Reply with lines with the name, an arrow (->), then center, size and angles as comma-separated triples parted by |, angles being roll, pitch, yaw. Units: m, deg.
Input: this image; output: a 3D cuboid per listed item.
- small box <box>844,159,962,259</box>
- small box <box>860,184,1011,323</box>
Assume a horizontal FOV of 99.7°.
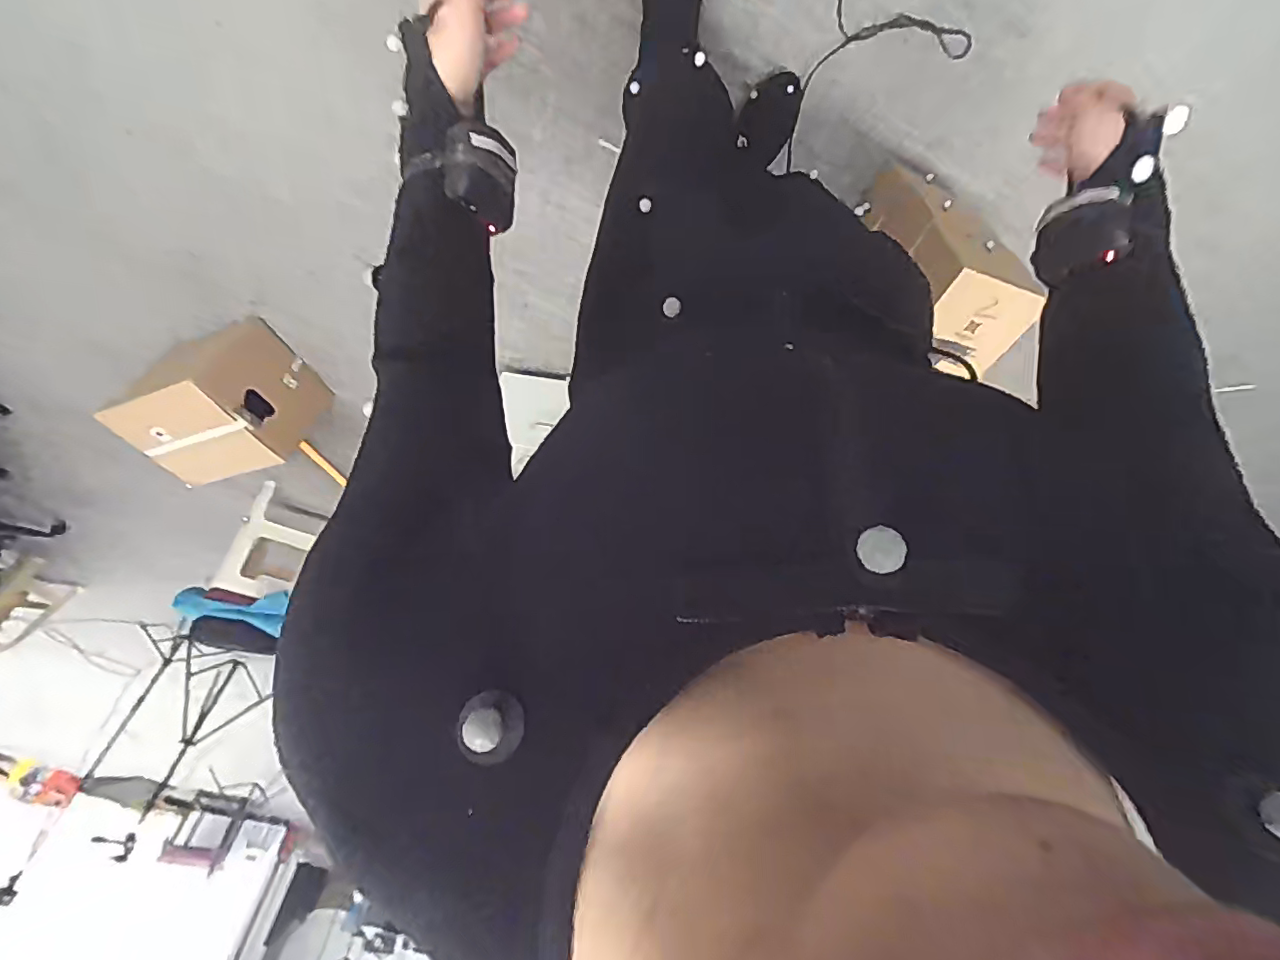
small box -> 0.567, -0.558, 1.165 | 0.179, 0.176, 0.168 | 19, 137, -14
small box -> 0.557, -0.443, 1.049 | 0.179, 0.176, 0.168 | 16, 139, -13
